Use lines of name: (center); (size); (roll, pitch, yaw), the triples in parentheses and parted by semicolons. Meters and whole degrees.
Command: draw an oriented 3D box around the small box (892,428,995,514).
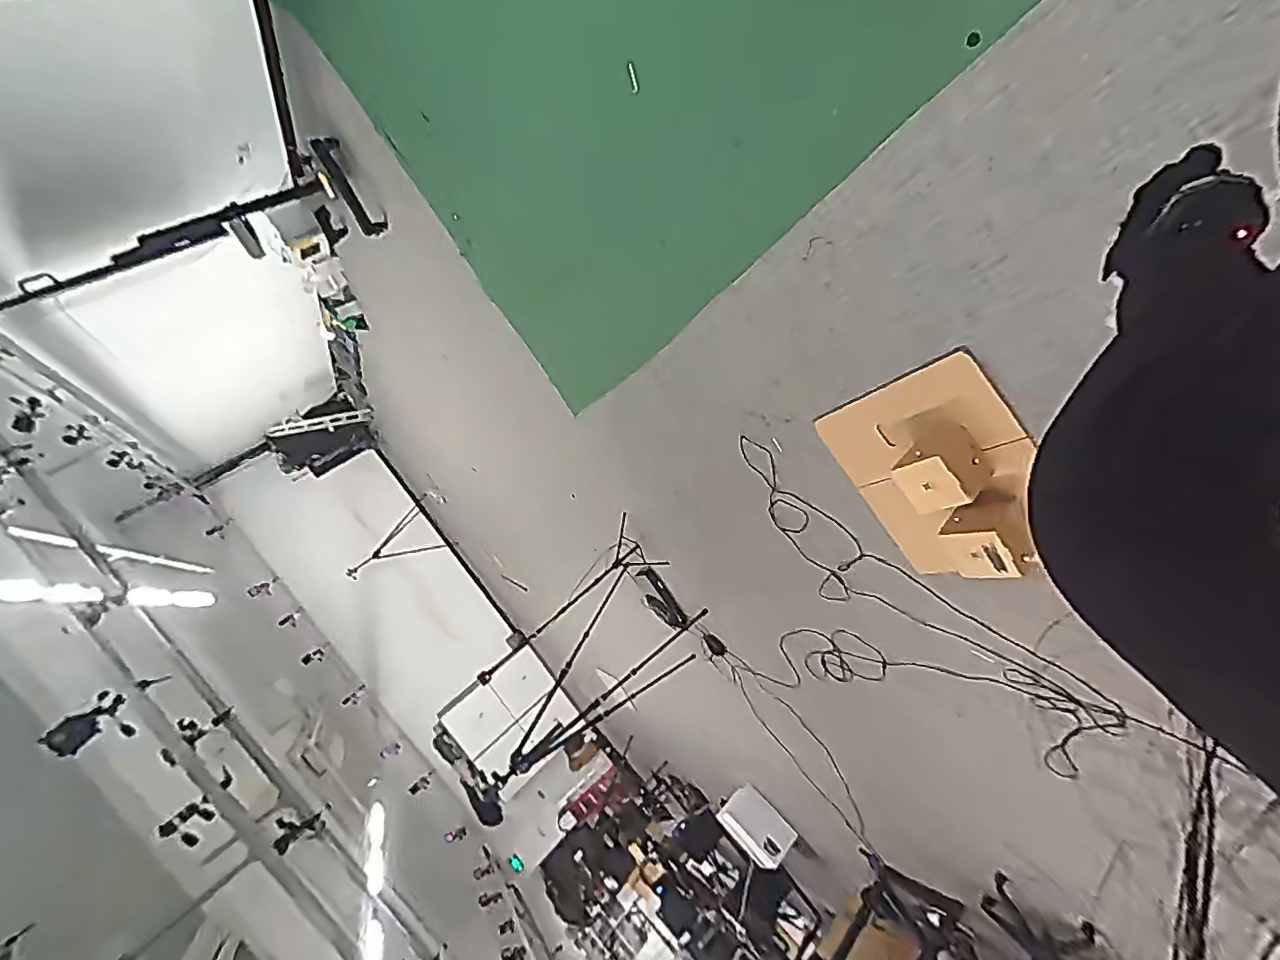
small box: (0.901, -0.026, 1.603); (0.168, 0.176, 0.179); (53, 152, -1)
